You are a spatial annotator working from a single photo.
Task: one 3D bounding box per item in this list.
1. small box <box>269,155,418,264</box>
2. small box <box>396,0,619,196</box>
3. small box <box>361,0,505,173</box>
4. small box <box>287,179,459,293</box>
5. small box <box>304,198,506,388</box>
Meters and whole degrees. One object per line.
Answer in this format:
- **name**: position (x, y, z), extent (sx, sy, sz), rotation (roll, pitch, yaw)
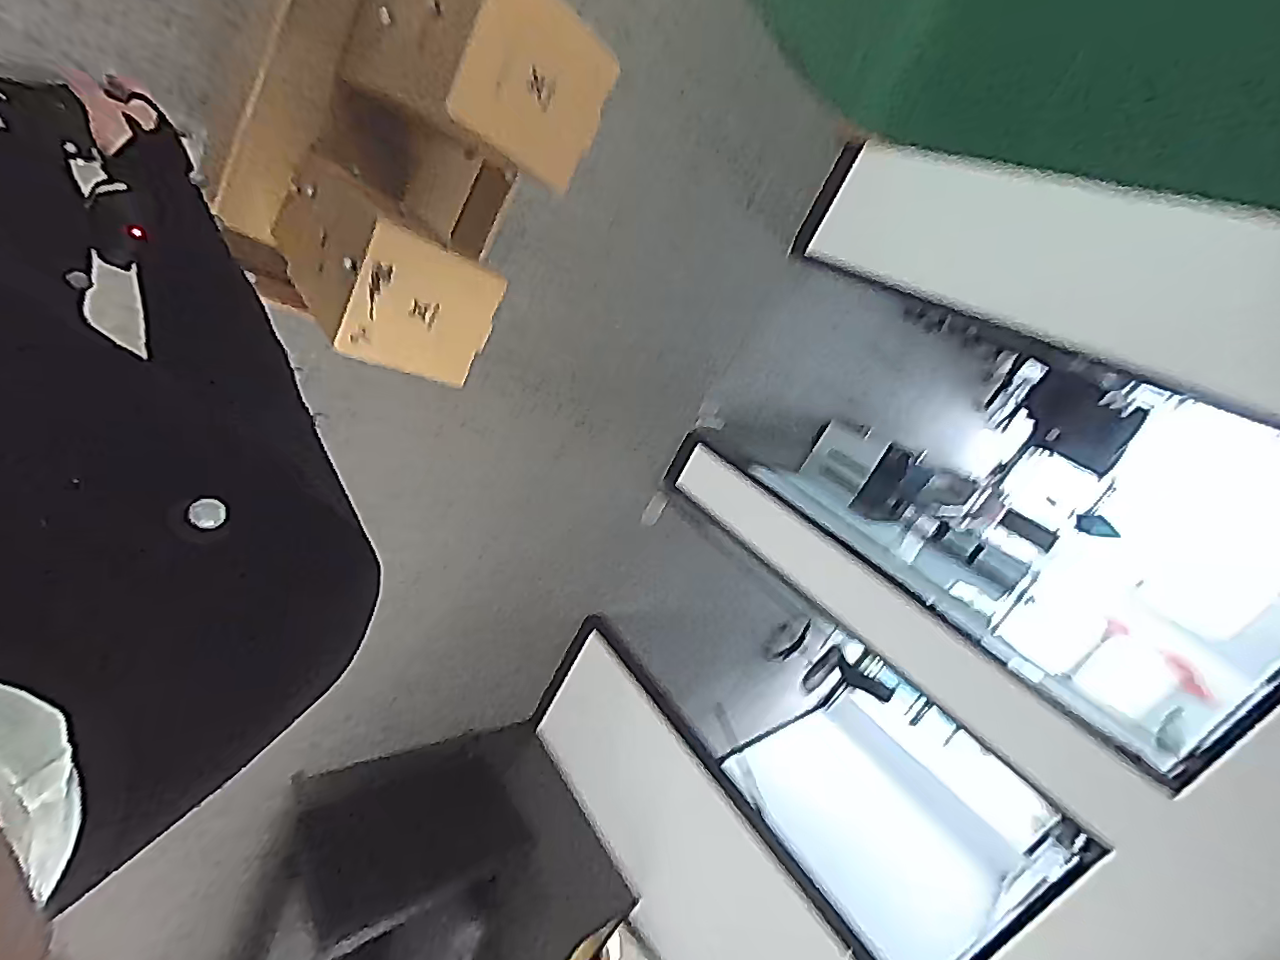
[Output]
- **small box**: position (-0.506, -0.430, 0.938), extent (0.179, 0.176, 0.168), rotation (19, 109, -50)
- **small box**: position (-0.166, -0.494, 0.671), extent (0.179, 0.176, 0.168), rotation (13, 112, -50)
- **small box**: position (-0.262, -0.580, 0.770), extent (0.179, 0.176, 0.168), rotation (12, 112, -49)
- **small box**: position (-0.416, -0.338, 0.836), extent (0.179, 0.176, 0.168), rotation (12, 114, -49)
- **small box**: position (-0.321, -0.252, 0.733), extent (0.179, 0.176, 0.168), rotation (12, 113, -49)
